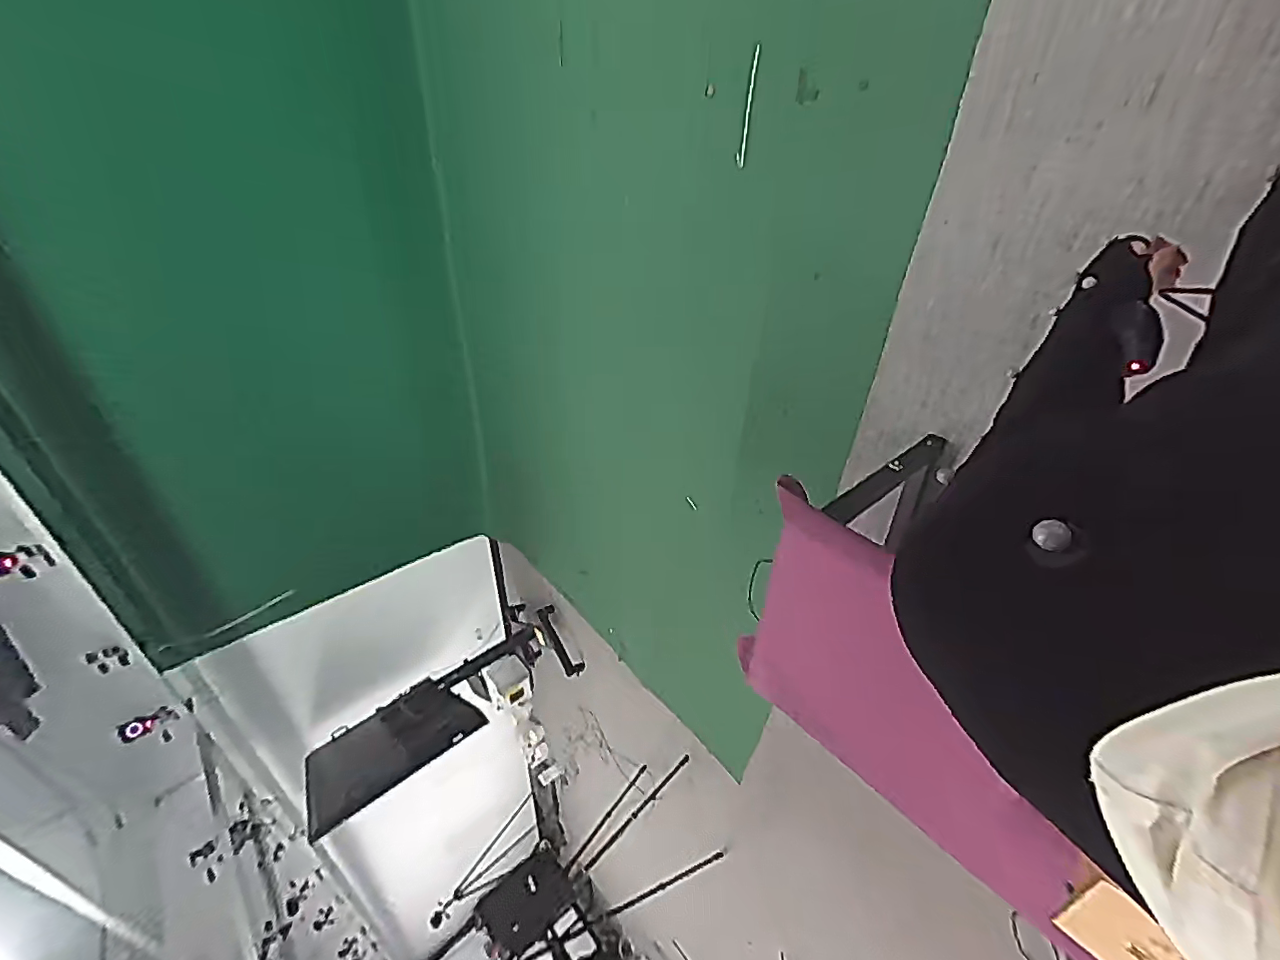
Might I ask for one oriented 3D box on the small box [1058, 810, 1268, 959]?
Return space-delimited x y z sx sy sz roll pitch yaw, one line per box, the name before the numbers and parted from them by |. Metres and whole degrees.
small box | 0.785 0.654 0.816 0.168 0.176 0.179 32 134 39
